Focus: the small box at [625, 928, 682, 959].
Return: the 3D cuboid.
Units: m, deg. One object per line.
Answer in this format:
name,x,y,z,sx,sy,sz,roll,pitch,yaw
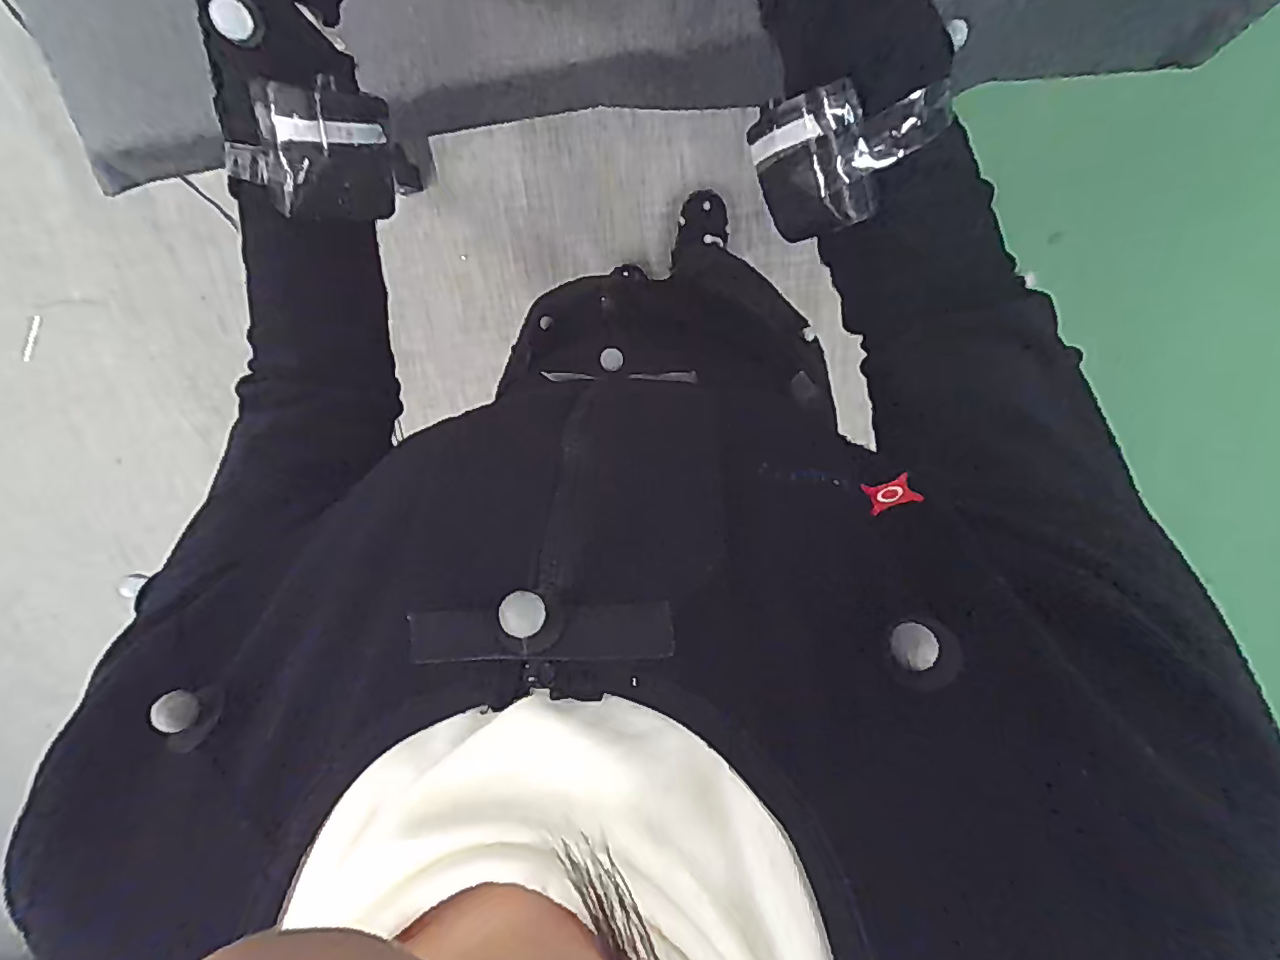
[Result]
small box,0.045,1.617,1.781,0.179,0.176,0.168,-9,111,8
